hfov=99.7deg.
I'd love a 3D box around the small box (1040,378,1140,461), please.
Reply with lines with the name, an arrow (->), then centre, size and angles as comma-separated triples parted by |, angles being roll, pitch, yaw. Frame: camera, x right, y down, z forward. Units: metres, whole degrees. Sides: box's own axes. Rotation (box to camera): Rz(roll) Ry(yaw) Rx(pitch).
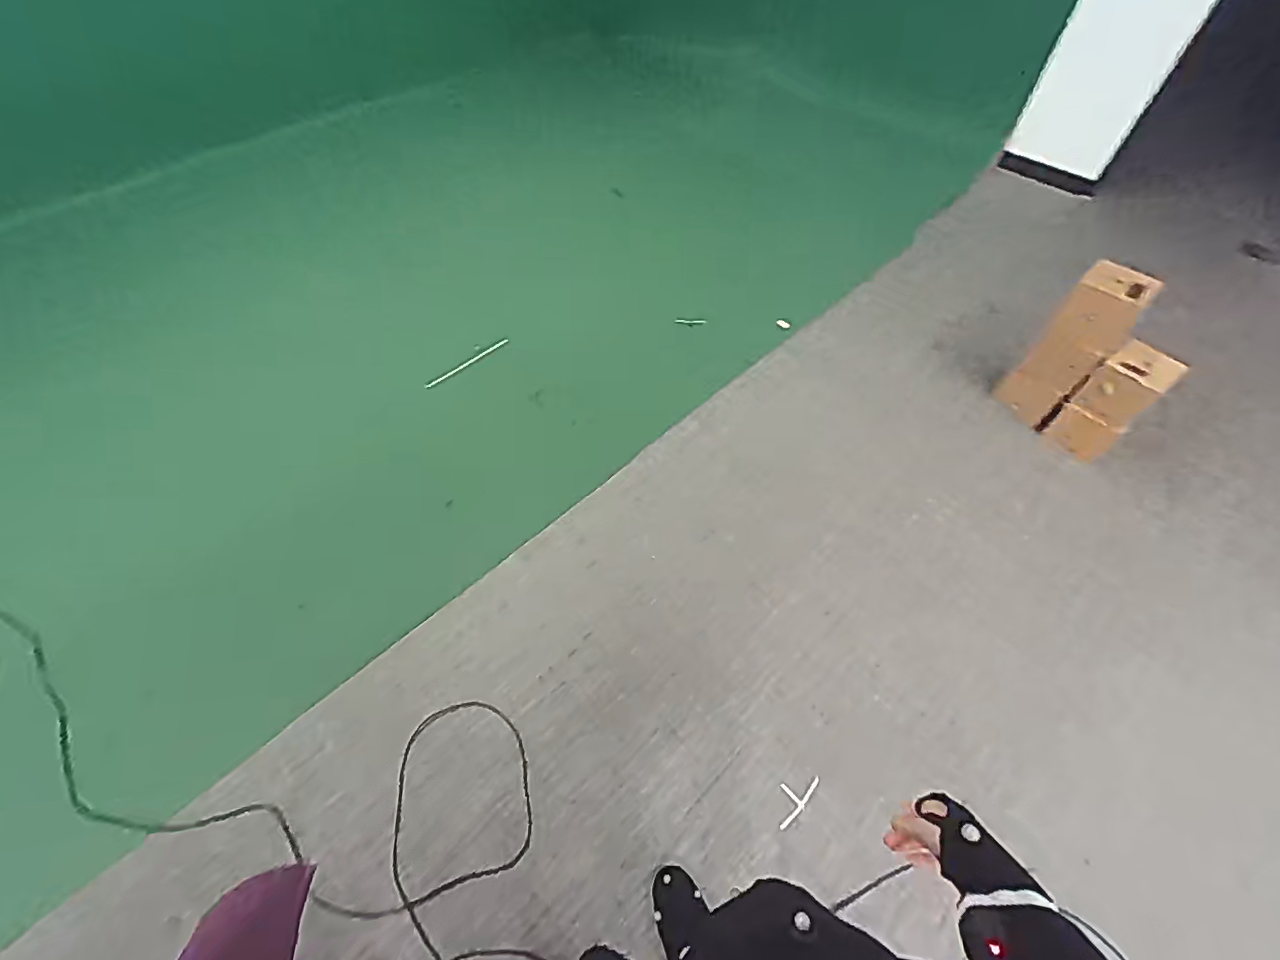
small box -> 1.484, -0.199, 1.795 | 0.179, 0.176, 0.168 | -39, 63, -22
